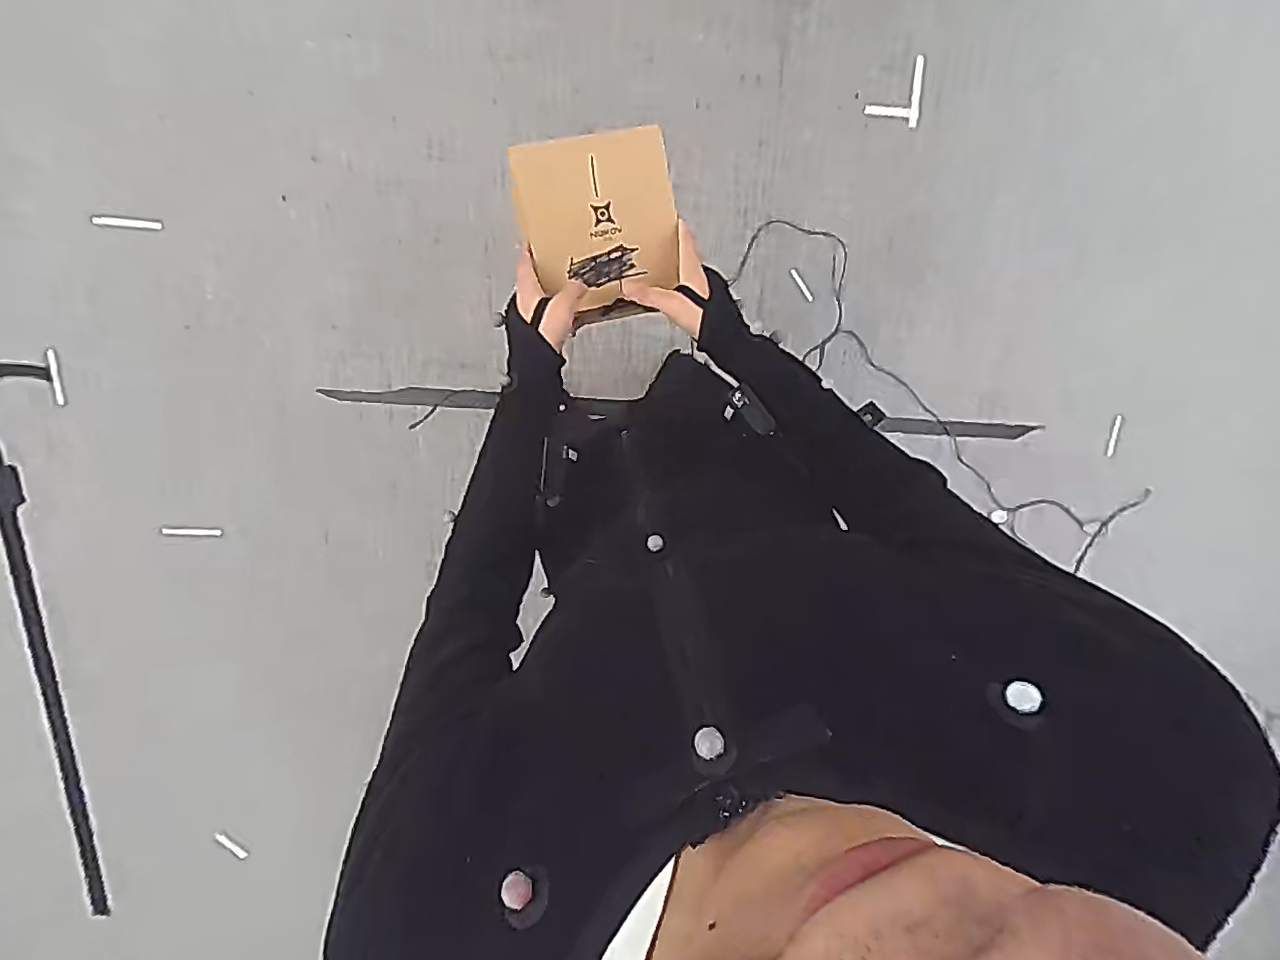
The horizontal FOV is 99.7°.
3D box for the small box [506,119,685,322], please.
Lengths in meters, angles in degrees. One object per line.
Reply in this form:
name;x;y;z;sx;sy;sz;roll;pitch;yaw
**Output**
small box;-0.056;-0.294;0.651;0.168;0.176;0.179;-13;102;-8
